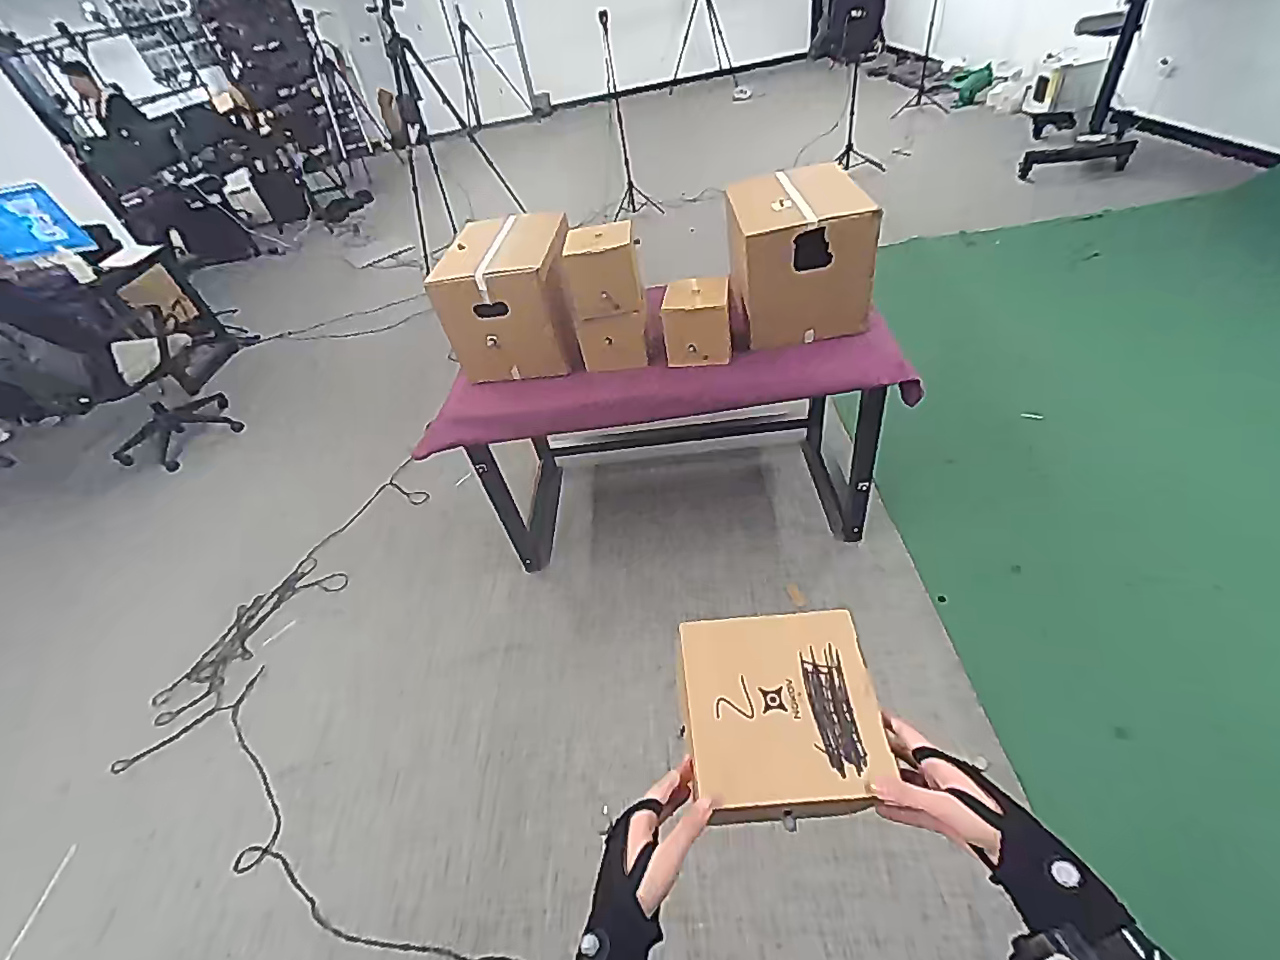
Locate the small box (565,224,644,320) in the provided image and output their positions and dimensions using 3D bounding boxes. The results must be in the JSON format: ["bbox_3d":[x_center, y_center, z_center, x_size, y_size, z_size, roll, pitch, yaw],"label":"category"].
[{"bbox_3d":[-0.084,-0.534,1.389,0.168,0.176,0.179,-7,43,7],"label":"small box"}]

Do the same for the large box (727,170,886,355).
[{"bbox_3d":[0.427,-0.597,1.478,0.320,0.320,0.408,-9,44,8],"label":"large box"}]
